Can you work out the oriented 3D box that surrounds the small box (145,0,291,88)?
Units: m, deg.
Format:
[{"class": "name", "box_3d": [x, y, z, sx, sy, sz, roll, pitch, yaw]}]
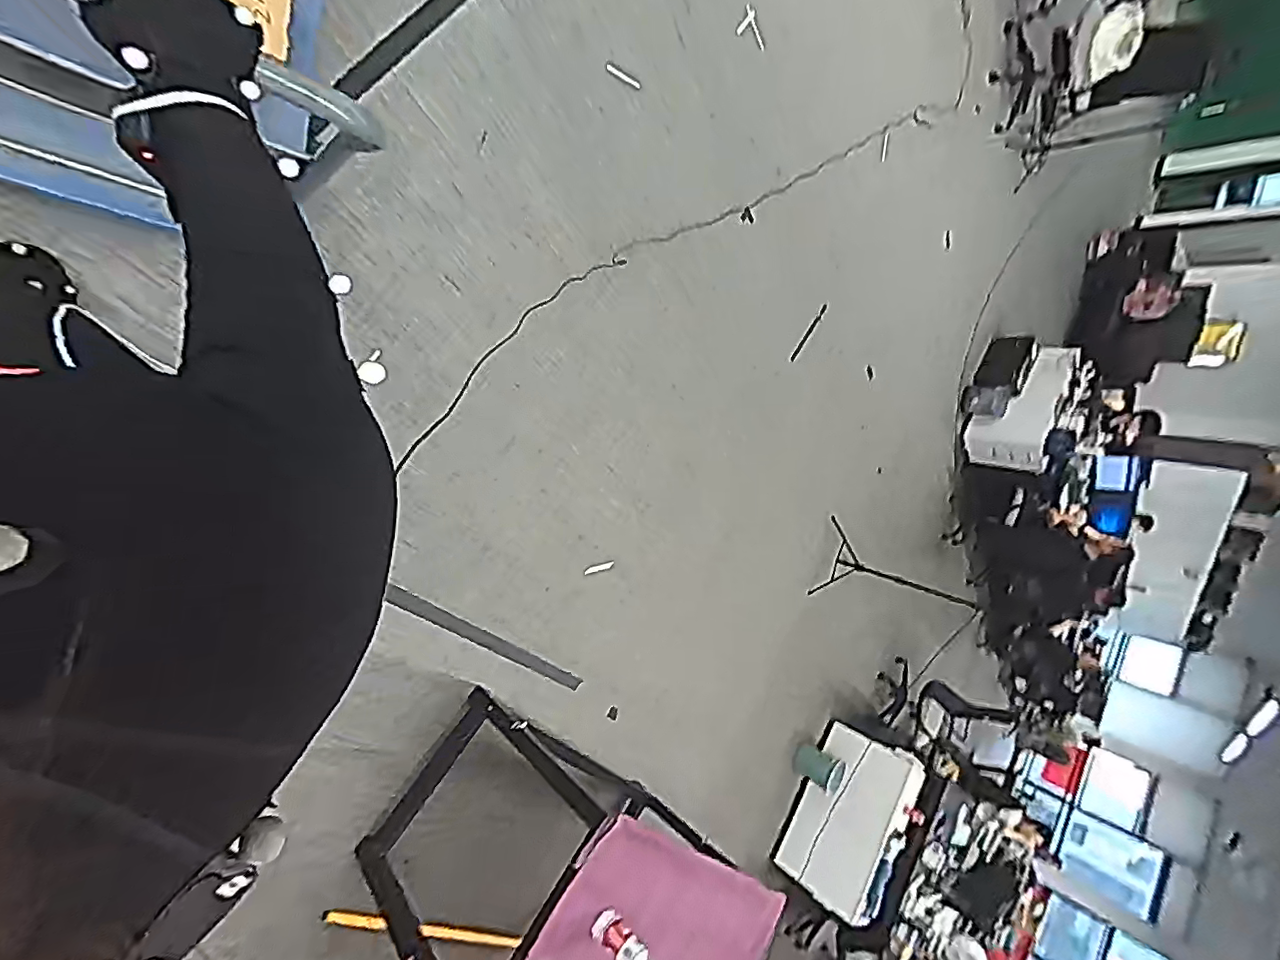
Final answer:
[{"class": "small box", "box_3d": [-0.688, -0.785, 0.881, 0.179, 0.176, 0.168, 1, 101, -44]}]
